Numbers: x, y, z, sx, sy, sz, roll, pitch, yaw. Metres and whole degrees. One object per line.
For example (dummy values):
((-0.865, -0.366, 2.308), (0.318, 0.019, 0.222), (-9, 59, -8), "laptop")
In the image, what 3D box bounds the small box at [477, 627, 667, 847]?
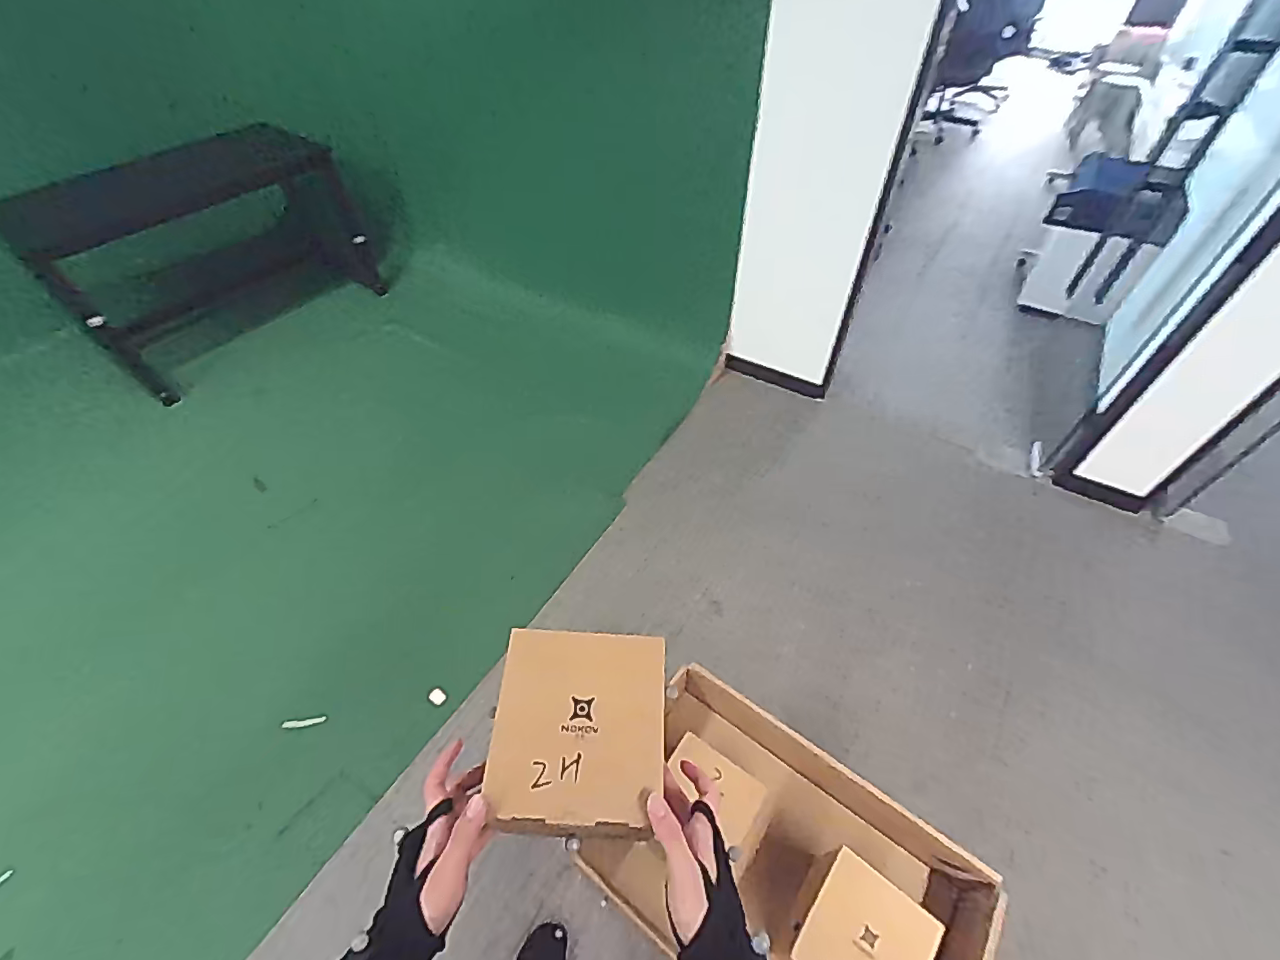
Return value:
((-0.063, 0.279, 0.582), (0.168, 0.176, 0.179), (4, 52, -1), "small box")

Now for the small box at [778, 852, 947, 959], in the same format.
((0.333, 0.726, 0.840), (0.168, 0.176, 0.179), (31, 57, 25), "small box")
